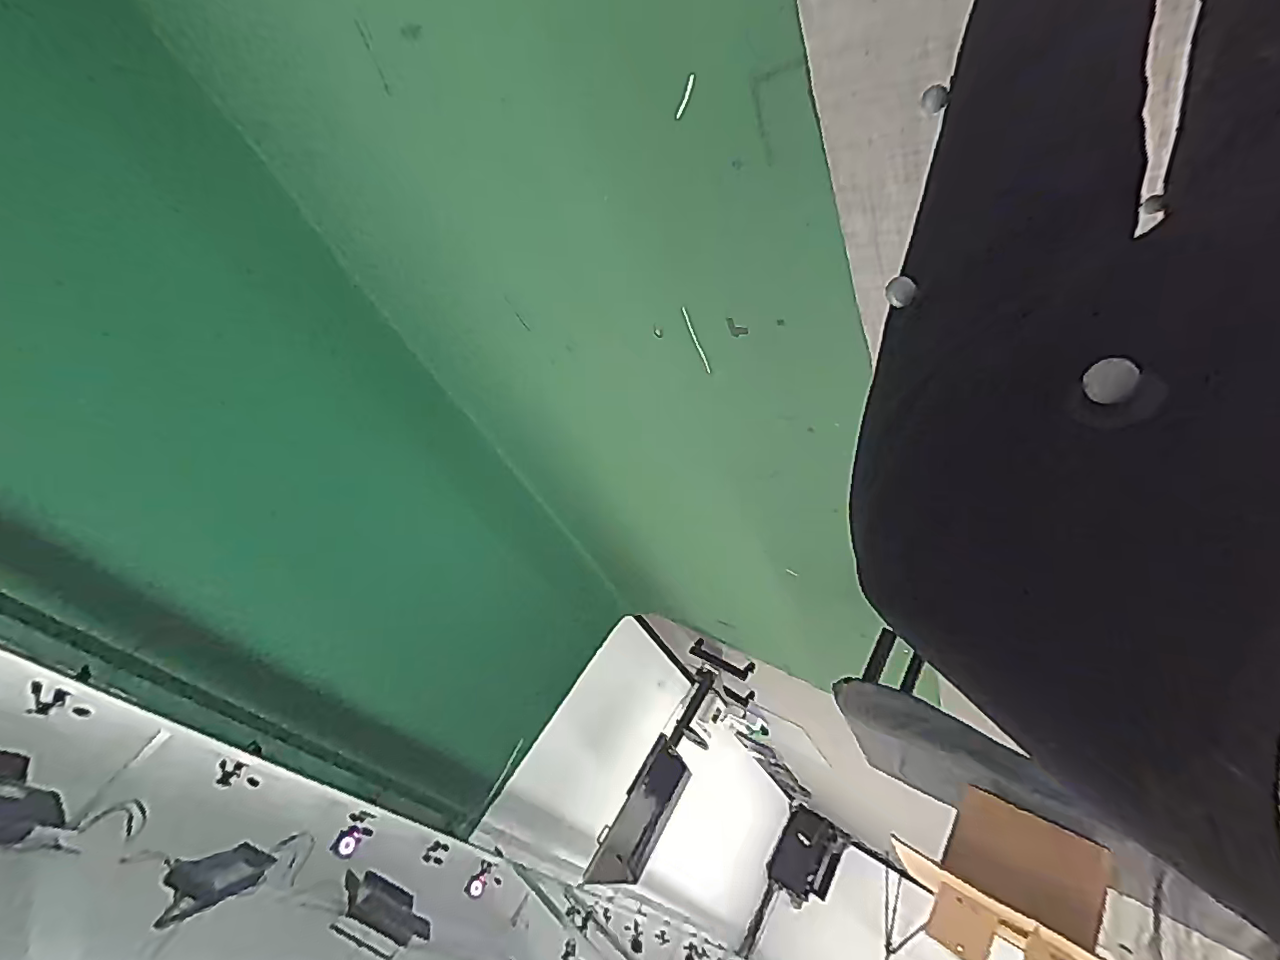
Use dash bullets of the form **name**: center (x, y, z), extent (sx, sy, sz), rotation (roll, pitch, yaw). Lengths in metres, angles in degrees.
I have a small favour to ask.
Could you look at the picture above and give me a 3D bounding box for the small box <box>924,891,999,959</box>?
- **small box**: center (1.035, 1.473, 1.736), extent (0.168, 0.176, 0.179), rotation (15, 147, 43)
